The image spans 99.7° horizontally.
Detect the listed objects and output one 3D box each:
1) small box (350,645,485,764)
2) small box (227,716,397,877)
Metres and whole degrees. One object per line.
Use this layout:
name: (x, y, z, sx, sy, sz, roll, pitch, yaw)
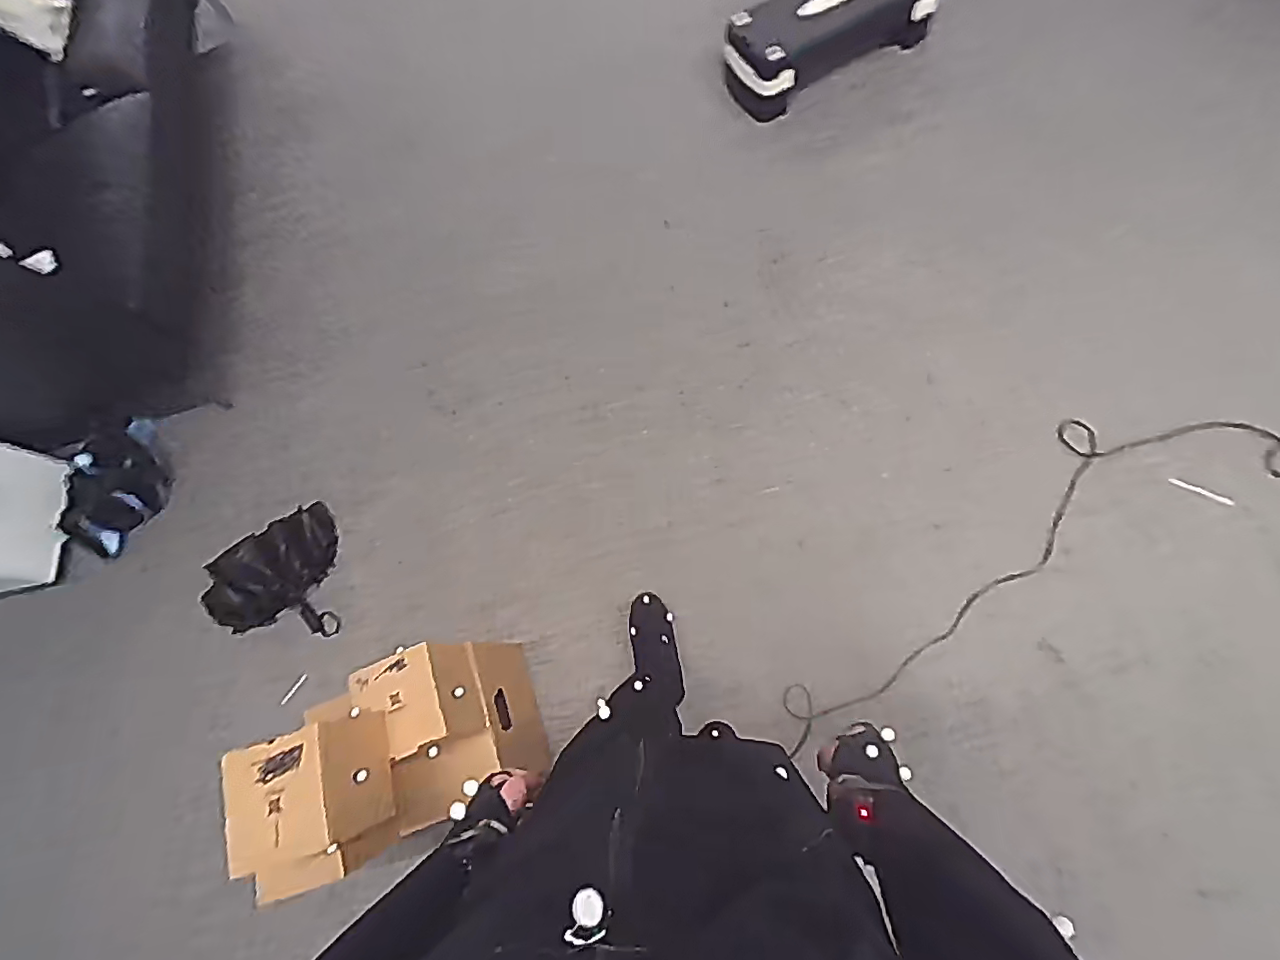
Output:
small box: (-0.430, 0.438, 1.066, 0.168, 0.176, 0.179, -24, 69, 1)
small box: (-0.530, 0.501, 0.888, 0.168, 0.176, 0.179, -19, 72, 4)
